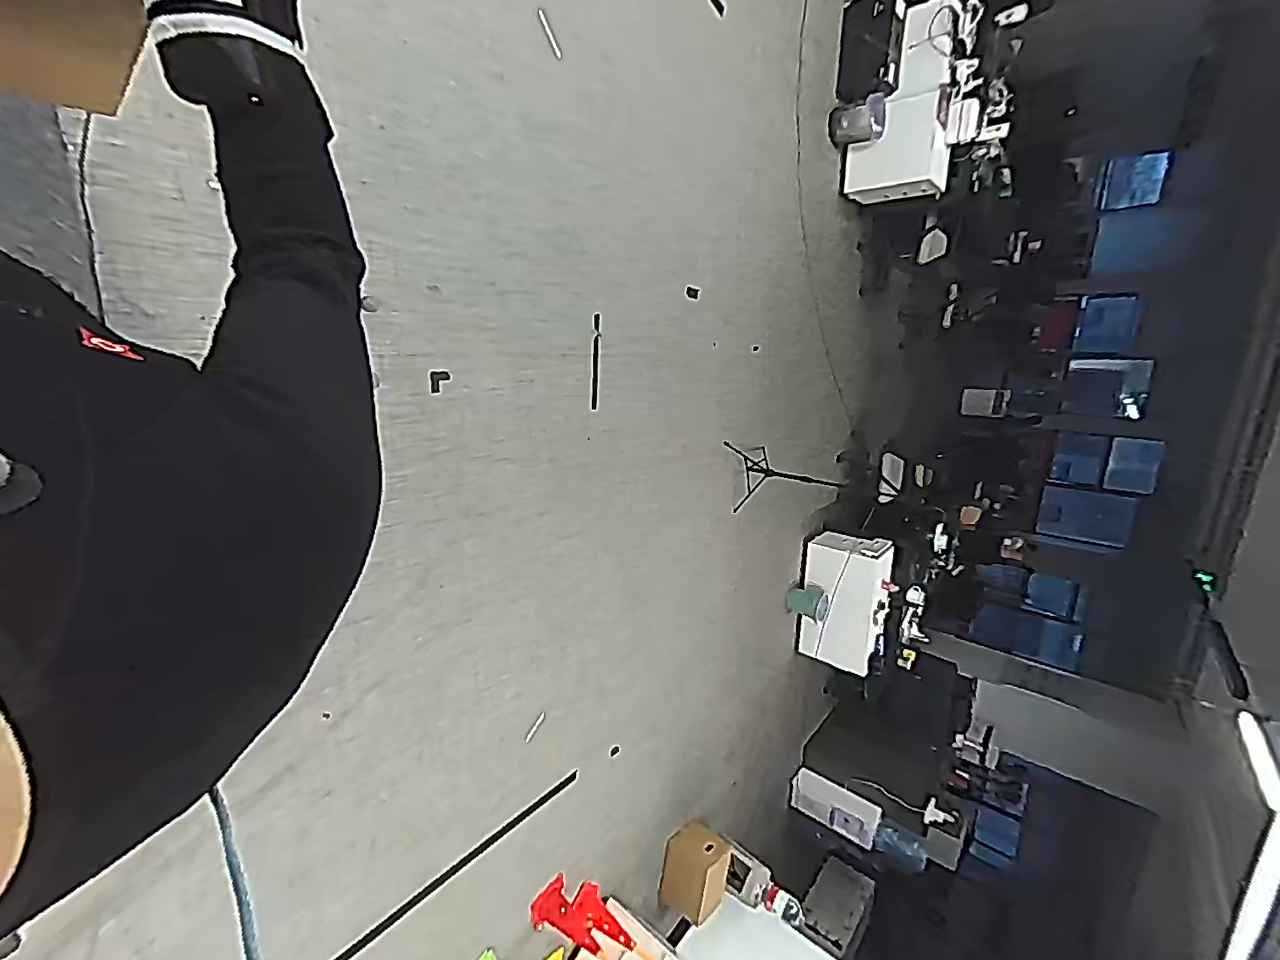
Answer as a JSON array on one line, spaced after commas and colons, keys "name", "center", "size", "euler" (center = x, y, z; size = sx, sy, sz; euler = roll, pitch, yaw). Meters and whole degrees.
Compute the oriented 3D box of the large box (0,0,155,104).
[{"name": "large box", "center": [-0.519, -0.445, 0.239], "size": [0.408, 0.320, 0.320], "euler": [-16, 108, -48]}]
